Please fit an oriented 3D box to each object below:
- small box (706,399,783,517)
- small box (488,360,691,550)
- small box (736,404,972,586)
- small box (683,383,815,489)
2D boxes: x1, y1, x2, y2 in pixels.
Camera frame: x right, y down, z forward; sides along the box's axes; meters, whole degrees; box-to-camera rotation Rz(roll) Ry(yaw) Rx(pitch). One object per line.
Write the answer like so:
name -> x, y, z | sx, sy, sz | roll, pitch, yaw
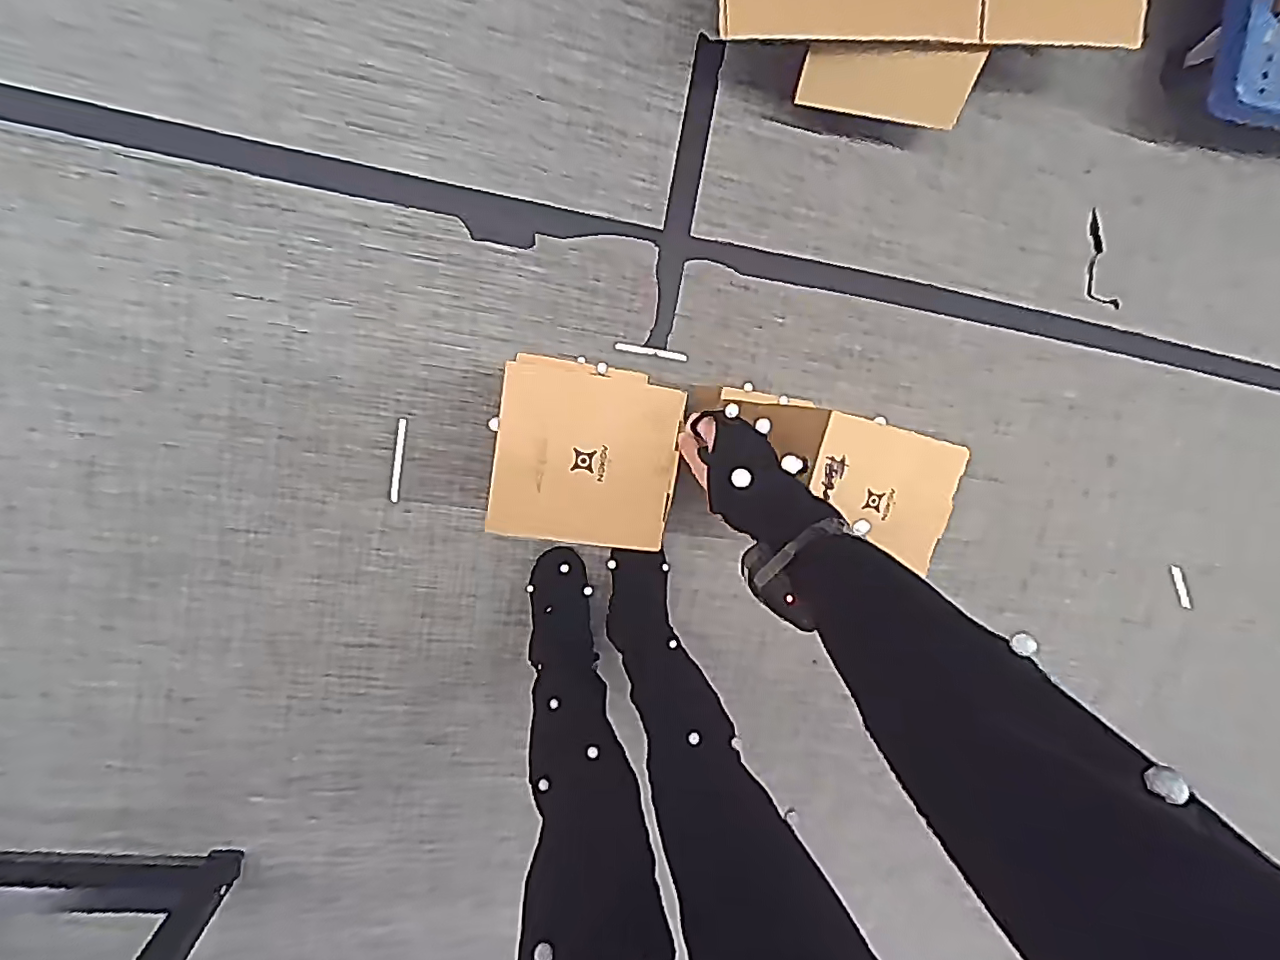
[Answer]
small box -> 0.214, -0.025, 0.813 | 0.179, 0.176, 0.168 | 10, 99, -13
small box -> -0.061, -0.033, 0.593 | 0.179, 0.176, 0.168 | 7, 98, -11
small box -> 0.243, 0.009, 0.655 | 0.179, 0.176, 0.168 | 13, 98, -14
small box -> 0.184, -0.074, 0.968 | 0.168, 0.176, 0.179 | 8, 99, -12
